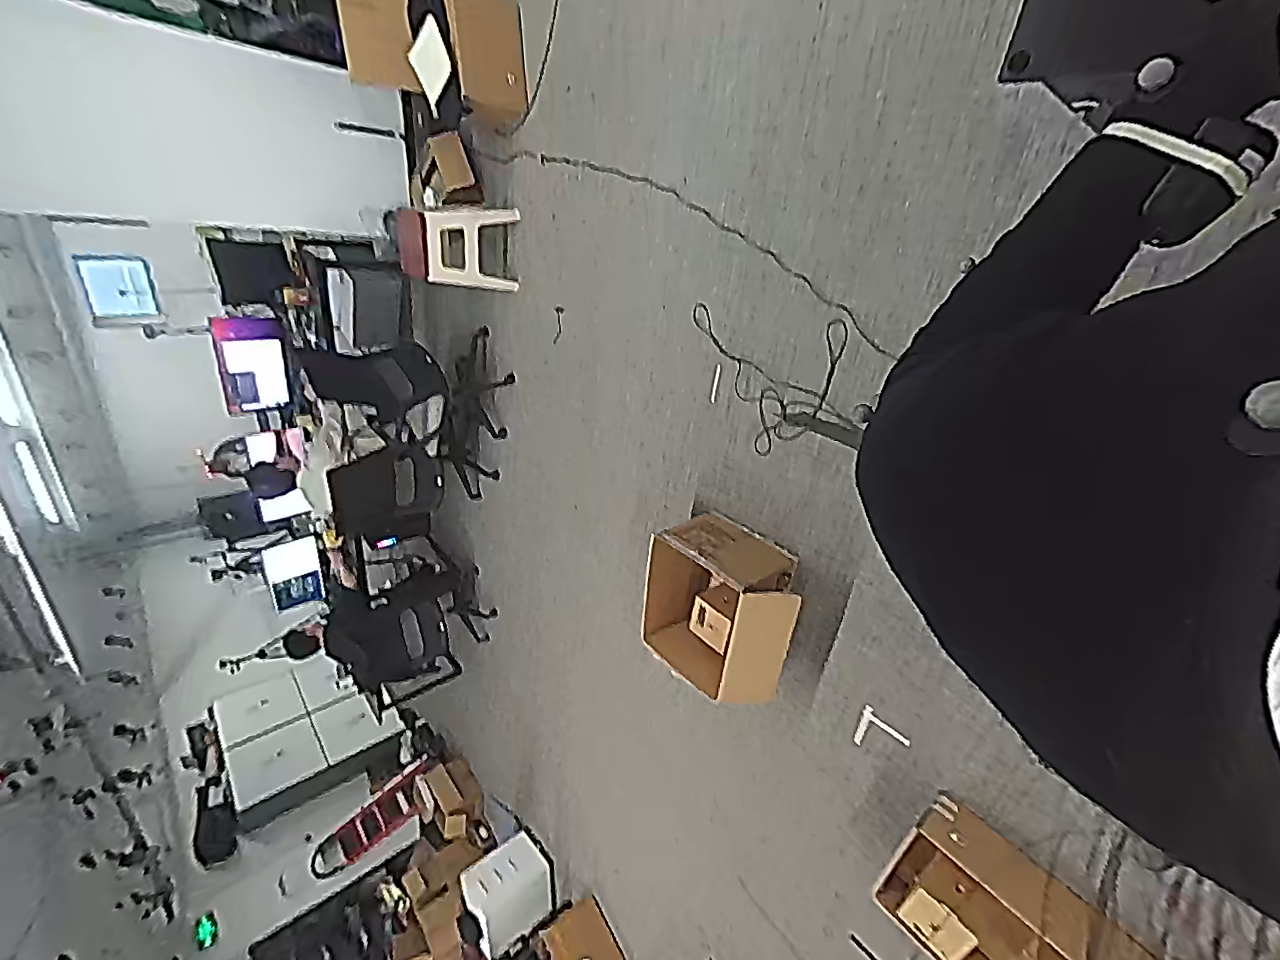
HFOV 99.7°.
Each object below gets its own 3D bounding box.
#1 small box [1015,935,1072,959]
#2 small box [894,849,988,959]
[{"bbox_3d":[1.083,1.362,1.411,0.179,0.176,0.168,35,125,40],"label":"small box"},{"bbox_3d":[0.891,1.246,1.595,0.168,0.176,0.179,36,126,36],"label":"small box"}]
